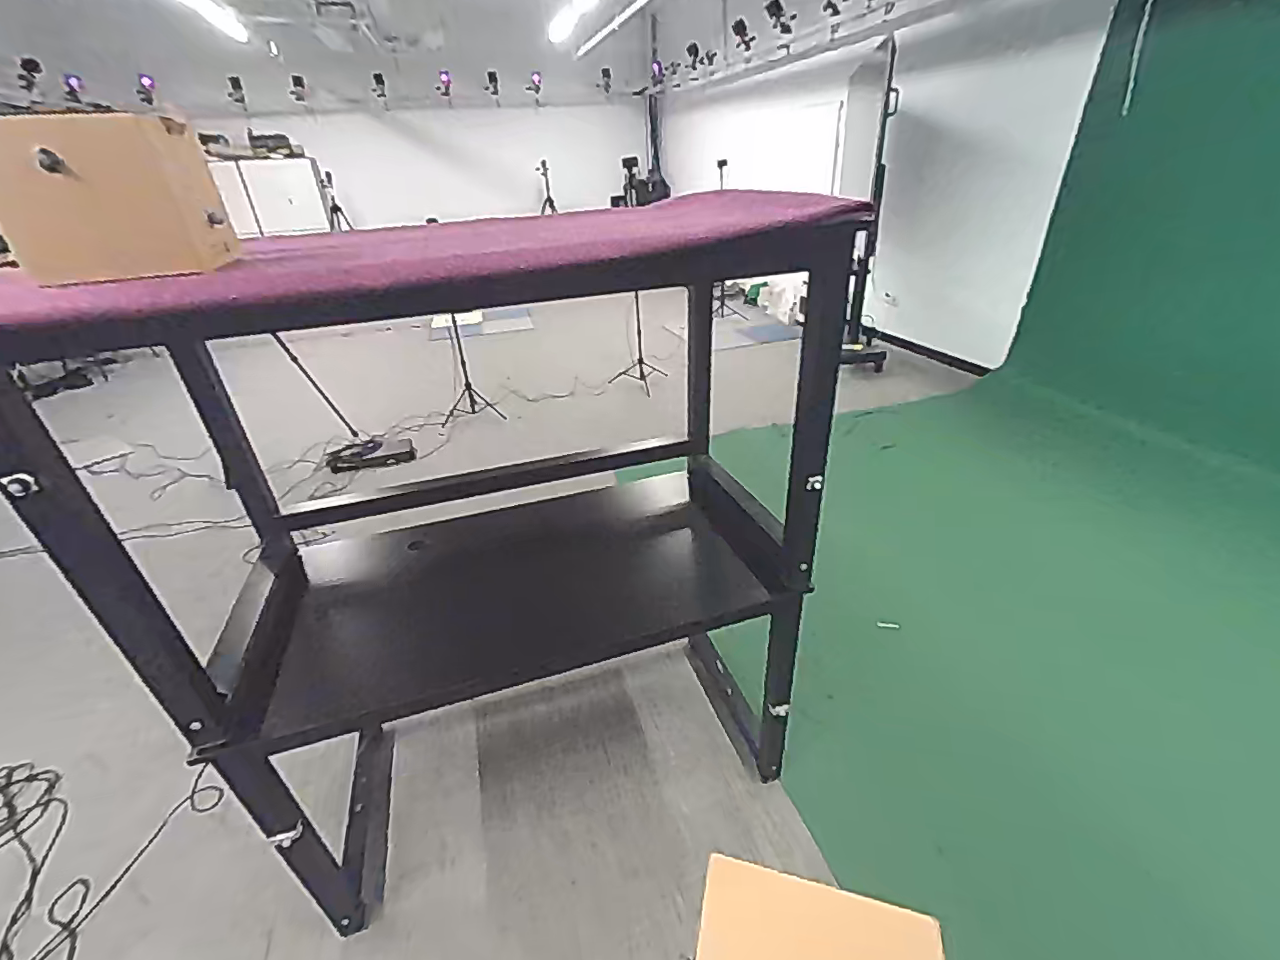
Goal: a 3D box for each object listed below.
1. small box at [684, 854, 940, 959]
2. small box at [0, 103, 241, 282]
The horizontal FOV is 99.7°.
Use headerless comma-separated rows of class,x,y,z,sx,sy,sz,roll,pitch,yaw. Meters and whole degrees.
small box,0.113,0.421,0.398,0.179,0.176,0.168,9,37,11
small box,-0.638,-0.346,0.659,0.179,0.176,0.168,-11,32,-14
